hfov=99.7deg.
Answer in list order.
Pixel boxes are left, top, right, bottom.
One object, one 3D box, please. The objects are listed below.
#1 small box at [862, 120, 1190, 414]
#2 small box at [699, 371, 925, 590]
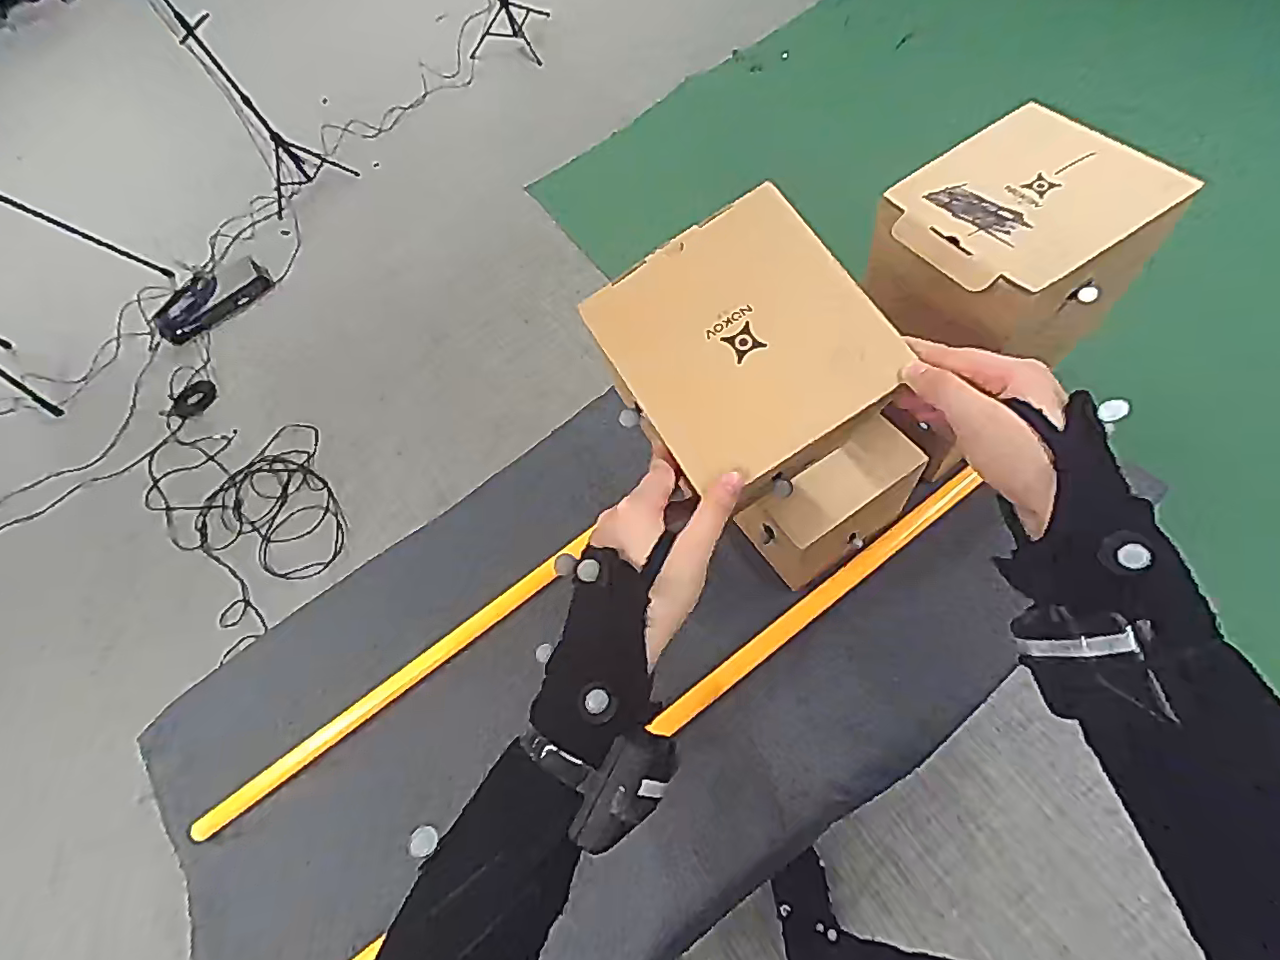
[{"bbox_3d":[0.342,-0.196,0.528,0.179,0.176,0.168,-32,62,-5],"label":"small box"},{"bbox_3d":[0.194,0.013,0.644,0.168,0.176,0.179,-34,61,-4],"label":"small box"}]
